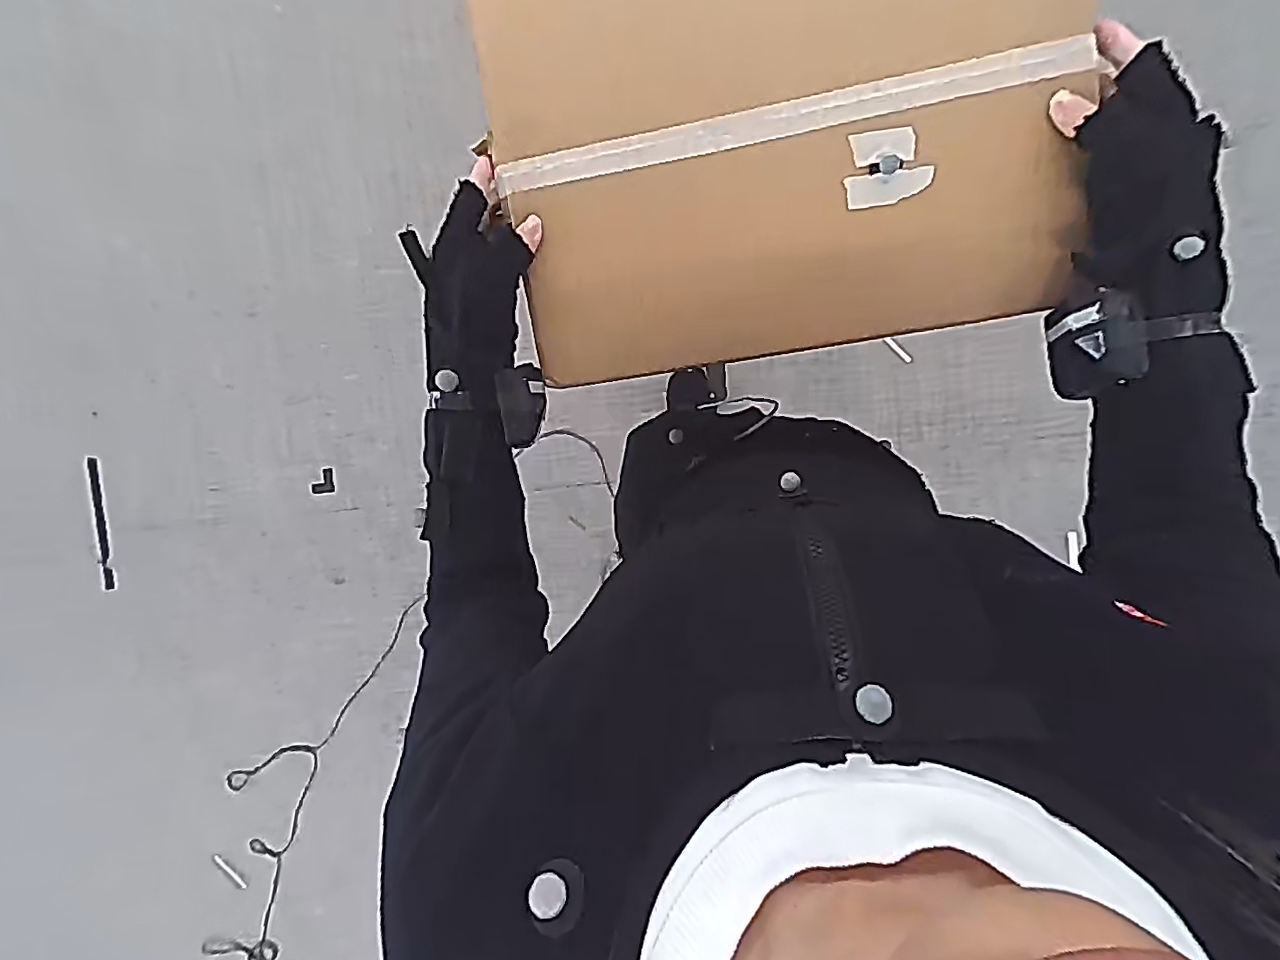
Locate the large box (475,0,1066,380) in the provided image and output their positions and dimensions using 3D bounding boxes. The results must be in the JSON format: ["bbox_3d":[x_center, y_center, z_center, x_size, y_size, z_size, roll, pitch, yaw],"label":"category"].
[{"bbox_3d":[0.106,-0.290,0.539,0.408,0.320,0.320,-8,102,7],"label":"large box"}]
